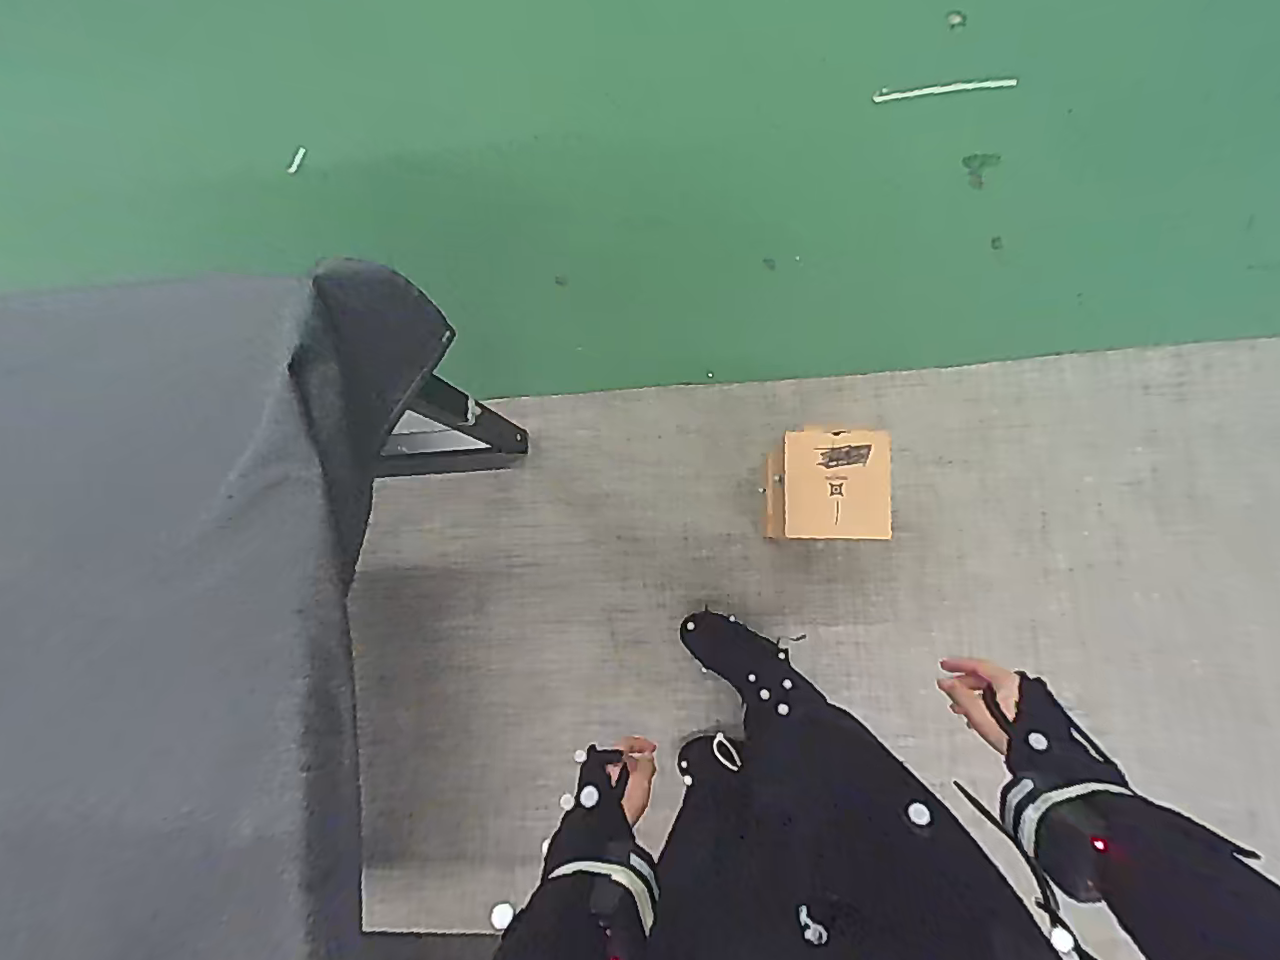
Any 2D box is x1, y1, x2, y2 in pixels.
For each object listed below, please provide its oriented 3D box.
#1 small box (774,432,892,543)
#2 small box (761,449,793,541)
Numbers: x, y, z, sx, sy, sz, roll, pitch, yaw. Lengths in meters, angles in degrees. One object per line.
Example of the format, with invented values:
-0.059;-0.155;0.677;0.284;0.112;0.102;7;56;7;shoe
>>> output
0.328;0.019;0.945;0.168;0.176;0.179;1;84;8;small box
0.339;0.036;1.108;0.168;0.176;0.179;1;85;7;small box
